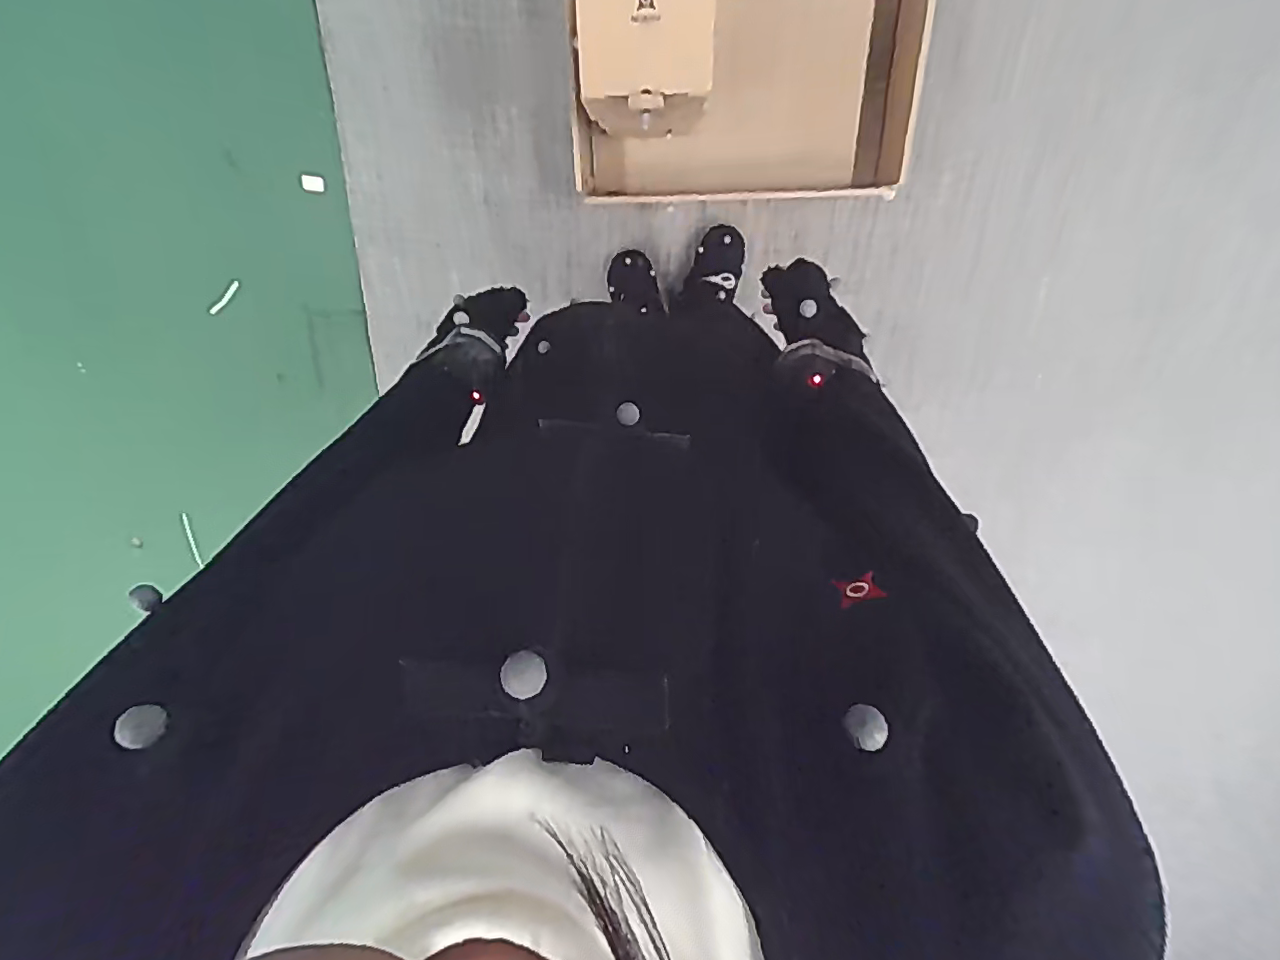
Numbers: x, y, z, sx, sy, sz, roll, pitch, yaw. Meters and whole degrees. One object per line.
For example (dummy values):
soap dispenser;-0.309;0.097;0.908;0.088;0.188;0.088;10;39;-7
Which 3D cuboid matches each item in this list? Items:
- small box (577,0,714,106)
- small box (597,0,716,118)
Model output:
small box;0.010;-0.603;0.708;0.168;0.176;0.179;0;117;2
small box;0.022;-0.681;0.851;0.179;0.176;0.168;0;117;2
